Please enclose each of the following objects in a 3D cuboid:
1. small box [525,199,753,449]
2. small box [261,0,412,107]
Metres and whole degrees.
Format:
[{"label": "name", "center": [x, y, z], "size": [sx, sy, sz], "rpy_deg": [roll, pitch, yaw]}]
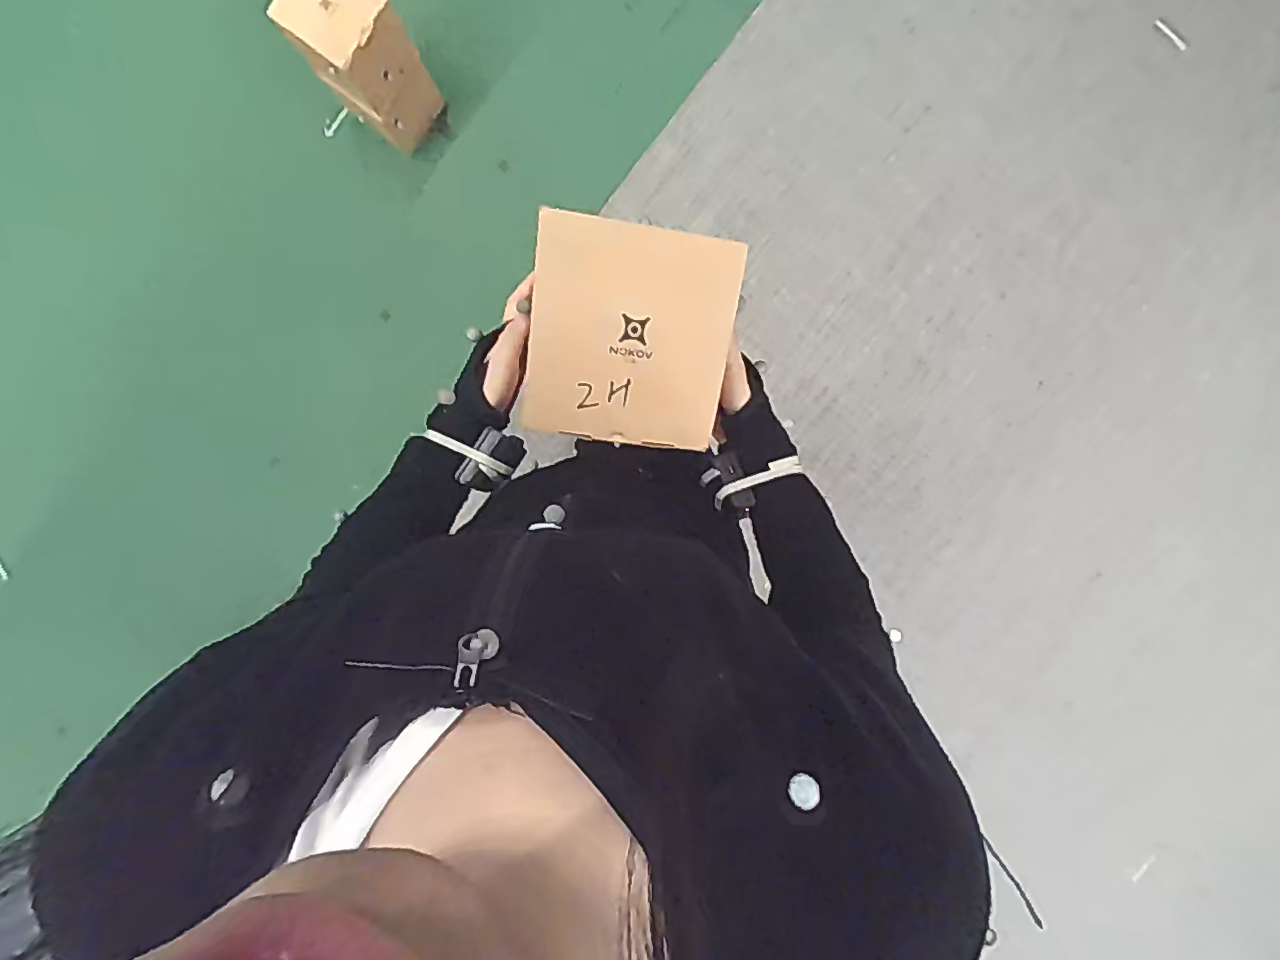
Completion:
[{"label": "small box", "center": [-0.012, -0.144, 0.513], "size": [0.168, 0.176, 0.179], "rpy_deg": [7, 109, -8]}, {"label": "small box", "center": [-0.612, -0.925, 1.112], "size": [0.179, 0.176, 0.168], "rpy_deg": [34, 94, -6]}]
